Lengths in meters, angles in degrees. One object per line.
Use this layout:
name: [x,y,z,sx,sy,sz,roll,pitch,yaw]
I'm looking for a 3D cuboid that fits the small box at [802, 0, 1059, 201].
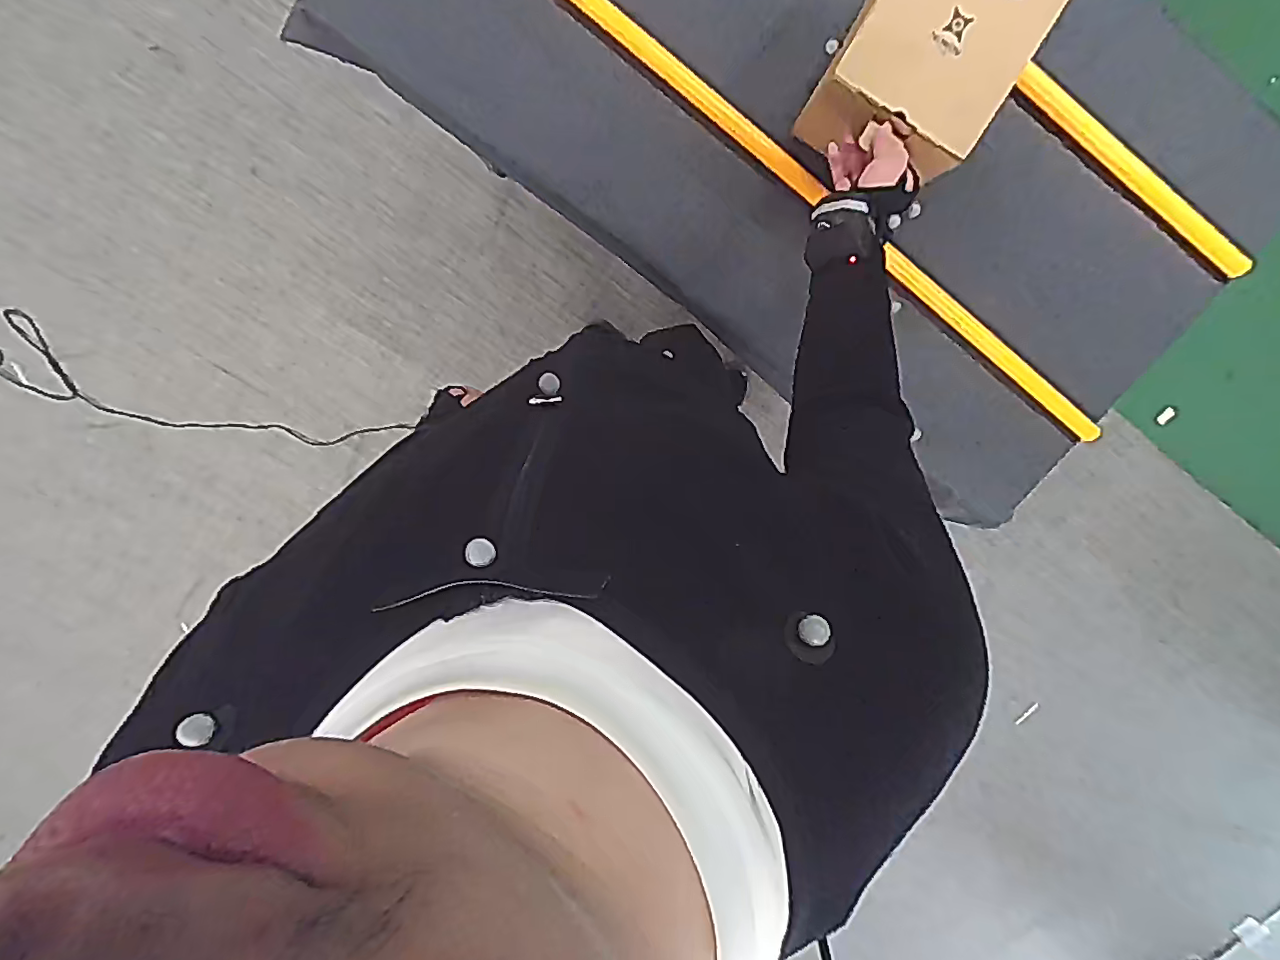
small box: [0.307,-0.456,0.622,0.168,0.176,0.179,27,103,-5]
